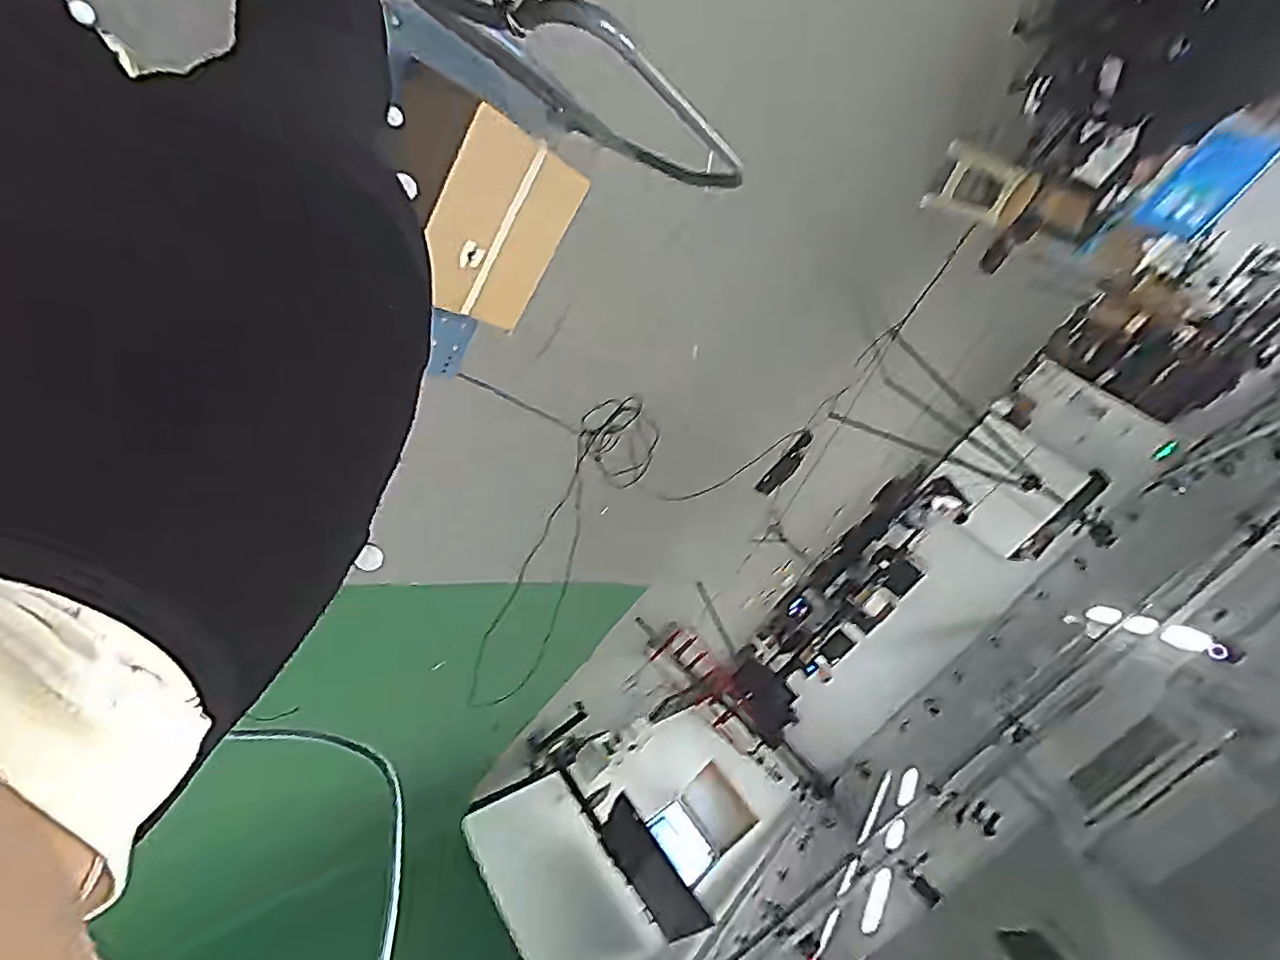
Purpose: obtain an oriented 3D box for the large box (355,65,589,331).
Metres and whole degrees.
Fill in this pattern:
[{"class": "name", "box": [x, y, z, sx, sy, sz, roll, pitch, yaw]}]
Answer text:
[{"class": "large box", "box": [-0.398, -0.632, 1.263, 0.320, 0.320, 0.408, 4, 127, -54]}]
